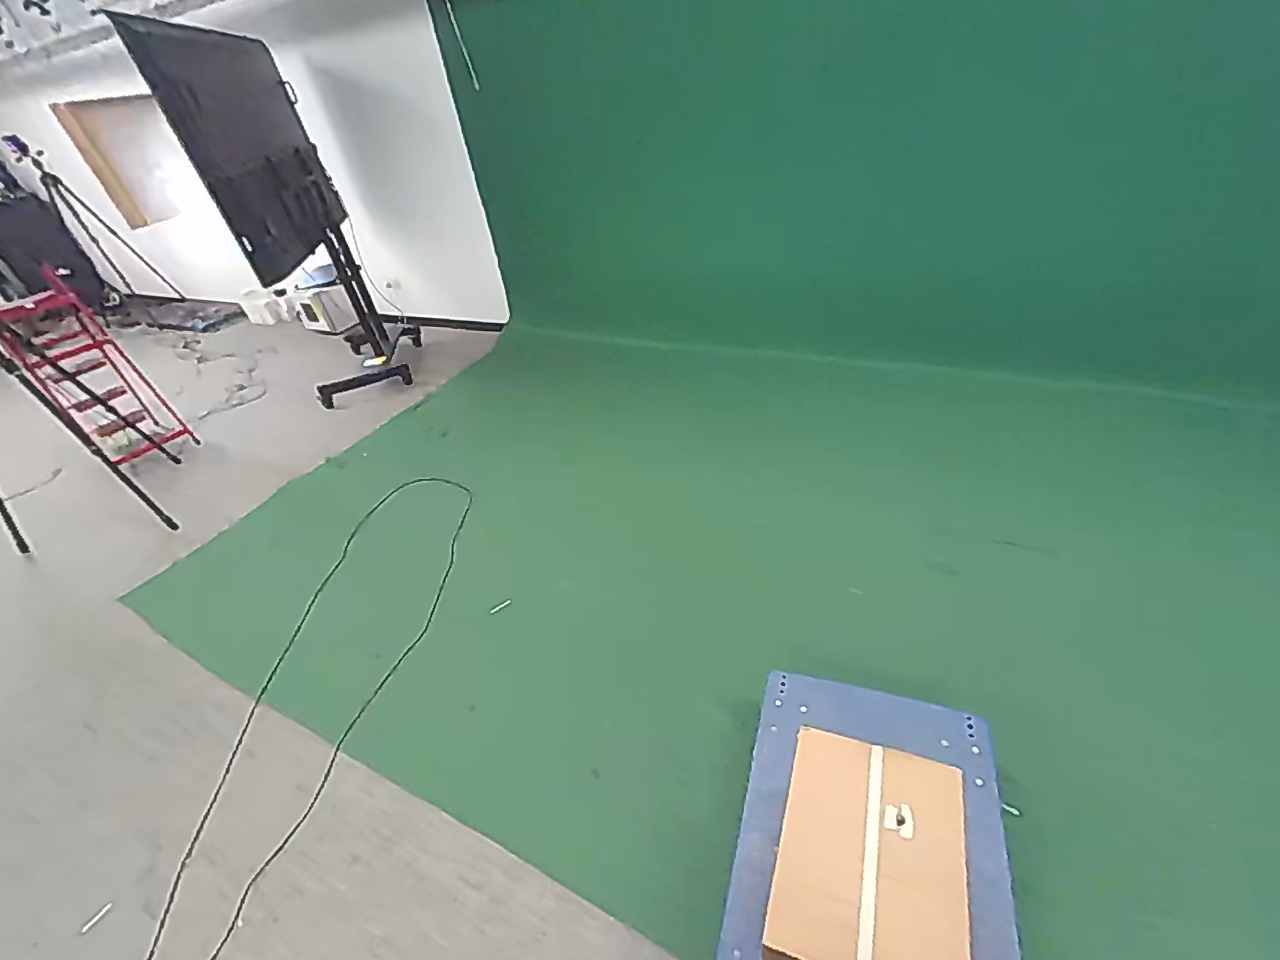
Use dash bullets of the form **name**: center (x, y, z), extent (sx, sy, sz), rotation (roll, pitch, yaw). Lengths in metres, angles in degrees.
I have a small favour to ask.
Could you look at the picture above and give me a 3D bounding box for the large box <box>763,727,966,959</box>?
- **large box**: center (0.438, 0.797, 1.083), extent (0.320, 0.320, 0.408), rotation (8, 40, 22)
